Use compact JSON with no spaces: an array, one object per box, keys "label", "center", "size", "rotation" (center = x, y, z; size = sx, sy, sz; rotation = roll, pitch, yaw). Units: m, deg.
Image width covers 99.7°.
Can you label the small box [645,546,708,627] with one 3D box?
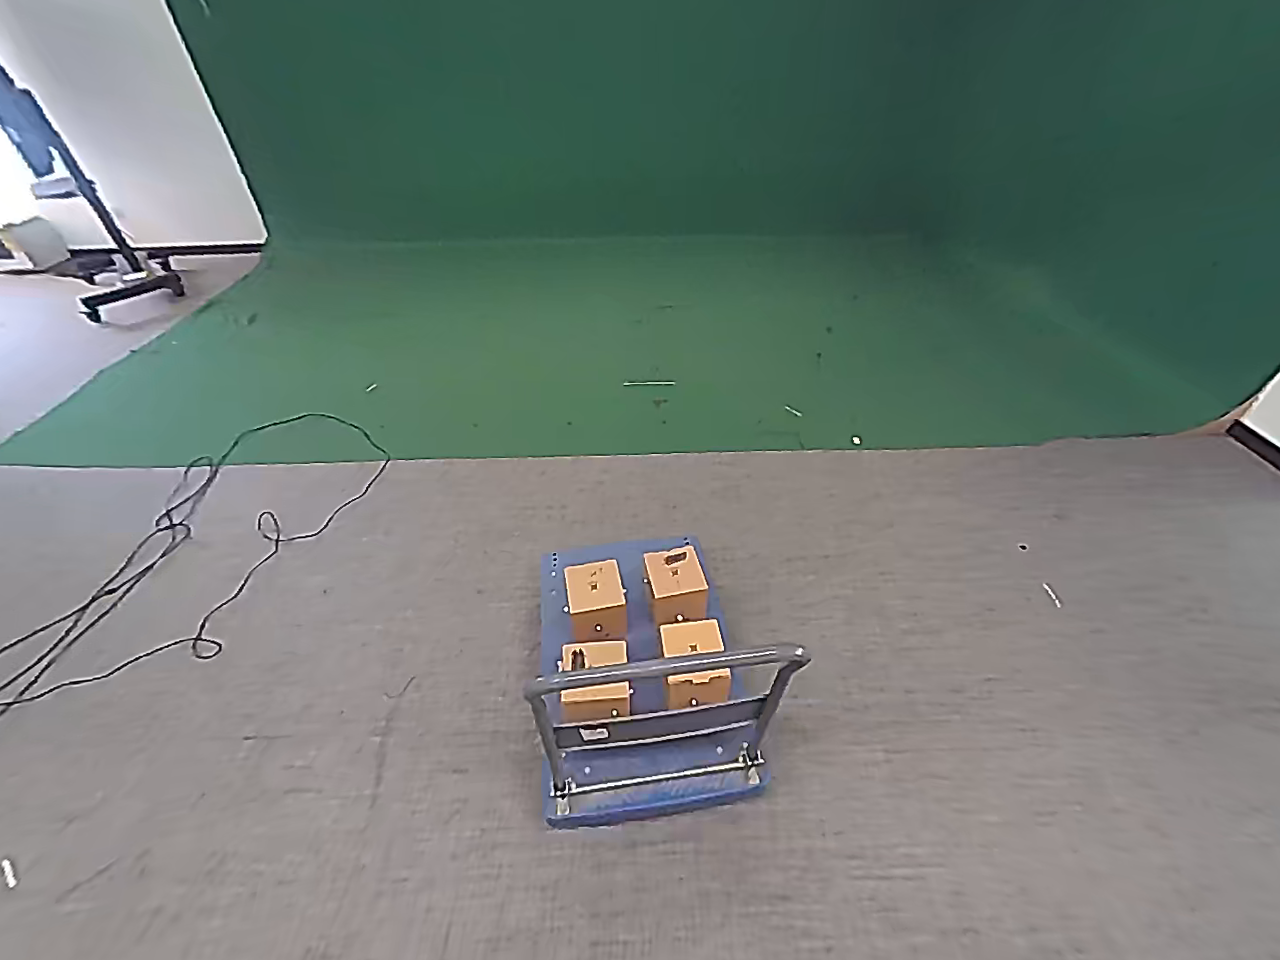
[{"label":"small box","center":[0.111,0.341,1.733],"size":[0.168,0.176,0.179],"rotation":[-9,44,-7]}]

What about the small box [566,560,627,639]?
[{"label":"small box","center":[-0.135,0.380,1.696],"size":[0.168,0.176,0.179],"rotation":[-8,42,-9]}]

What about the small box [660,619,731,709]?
[{"label":"small box","center":[0.150,0.521,1.534],"size":[0.168,0.176,0.179],"rotation":[-6,43,-5]}]
